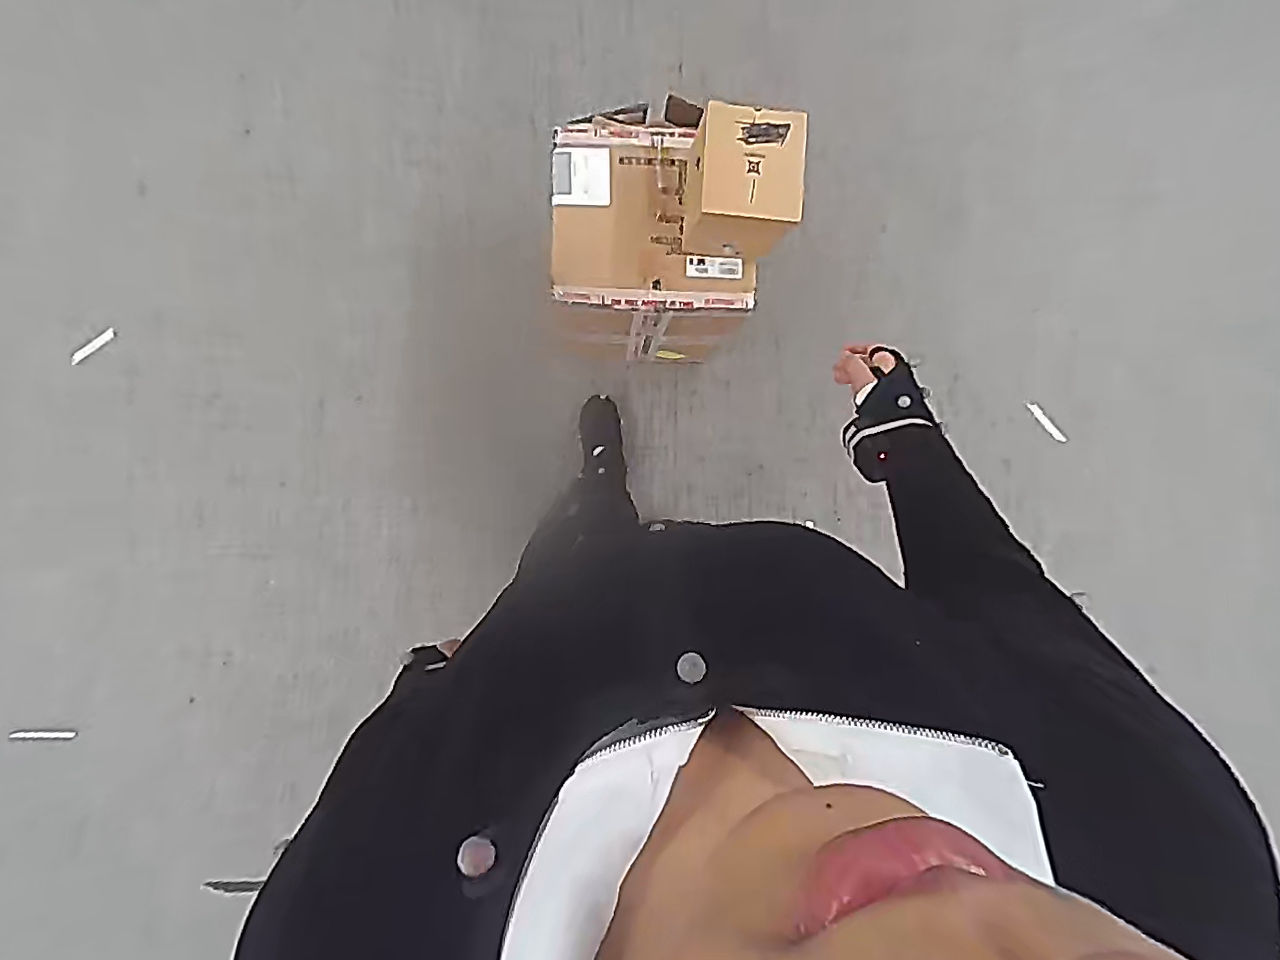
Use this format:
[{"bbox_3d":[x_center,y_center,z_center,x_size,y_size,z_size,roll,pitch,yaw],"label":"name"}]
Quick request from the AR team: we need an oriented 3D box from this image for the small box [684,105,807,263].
[{"bbox_3d":[0.173,-0.499,0.935,0.168,0.176,0.179,3,92,-6],"label":"small box"}]
